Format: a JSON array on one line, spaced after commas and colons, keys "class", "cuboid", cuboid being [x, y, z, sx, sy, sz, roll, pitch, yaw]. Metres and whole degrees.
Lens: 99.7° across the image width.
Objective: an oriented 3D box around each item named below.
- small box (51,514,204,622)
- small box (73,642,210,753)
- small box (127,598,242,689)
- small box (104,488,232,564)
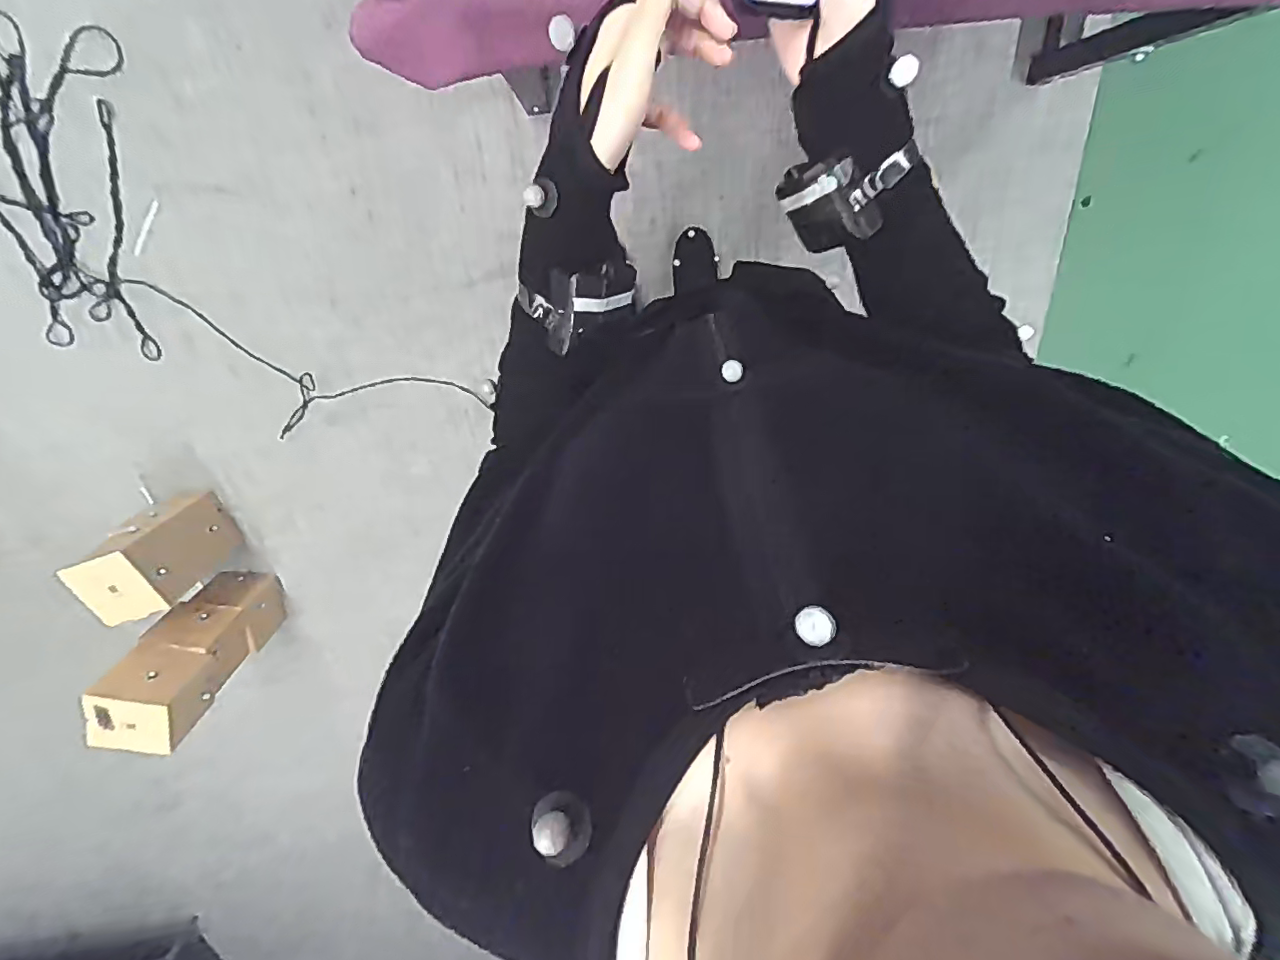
[{"class": "small box", "cuboid": [-1.237, 0.211, 1.325, 0.168, 0.176, 0.179, -17, 115, 3]}, {"class": "small box", "cuboid": [-1.180, 0.513, 1.292, 0.179, 0.176, 0.168, 14, 113, -11]}, {"class": "small box", "cuboid": [-1.199, 0.444, 1.439, 0.168, 0.176, 0.179, 10, 113, -8]}, {"class": "small box", "cuboid": [-1.261, 0.137, 1.468, 0.179, 0.176, 0.168, -12, 115, 2]}]
